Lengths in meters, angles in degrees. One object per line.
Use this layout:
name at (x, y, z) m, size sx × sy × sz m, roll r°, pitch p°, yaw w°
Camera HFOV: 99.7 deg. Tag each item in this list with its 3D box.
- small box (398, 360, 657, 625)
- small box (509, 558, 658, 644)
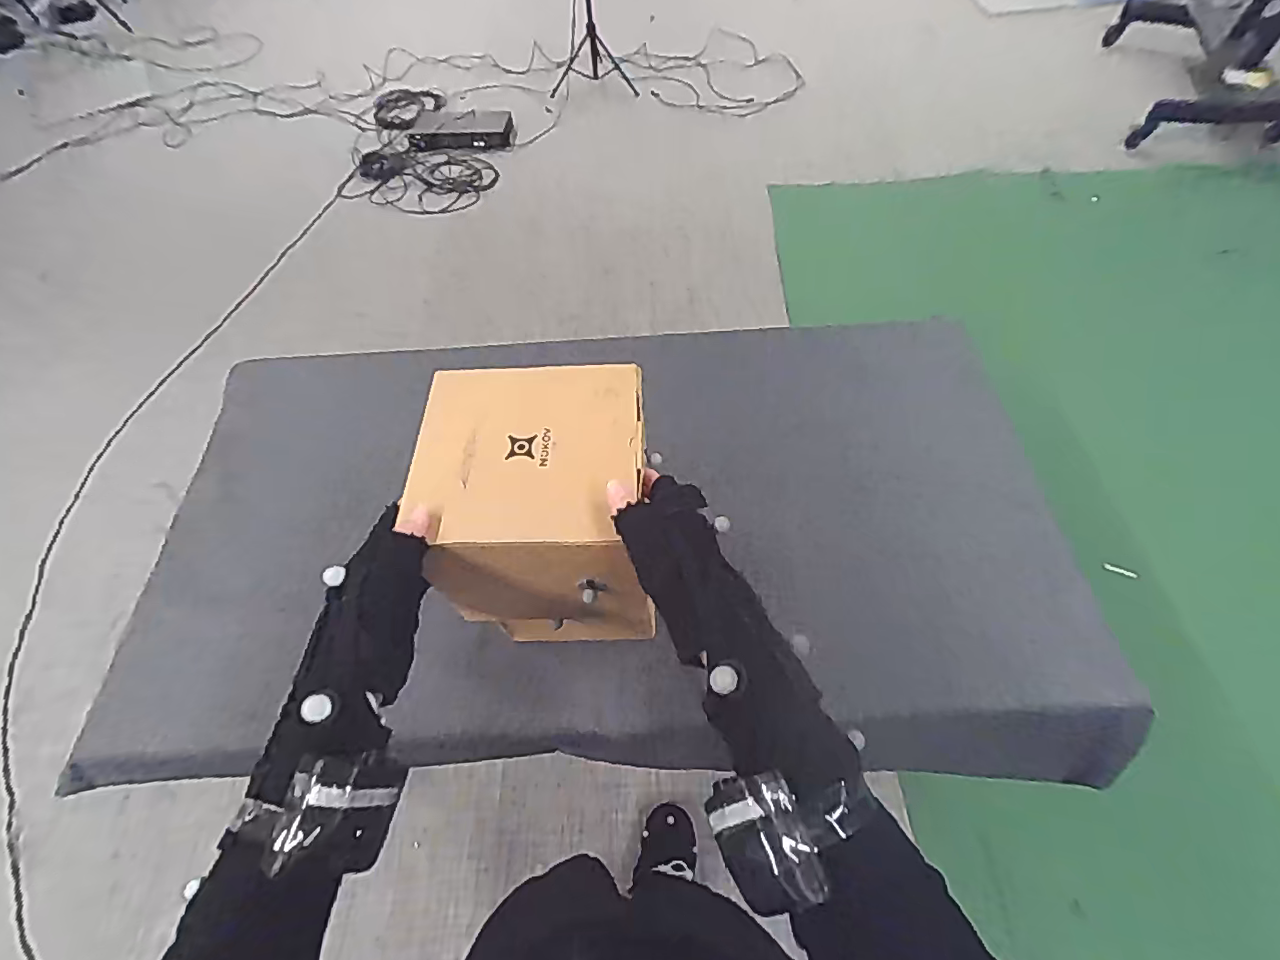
small box at (-0.080, 0.018, 0.472) m, size 0.179 × 0.176 × 0.168 m, roll -5°, pitch 58°, yaw -1°
small box at (-0.072, 0.088, 0.642) m, size 0.179 × 0.176 × 0.168 m, roll -4°, pitch 57°, yaw 0°
